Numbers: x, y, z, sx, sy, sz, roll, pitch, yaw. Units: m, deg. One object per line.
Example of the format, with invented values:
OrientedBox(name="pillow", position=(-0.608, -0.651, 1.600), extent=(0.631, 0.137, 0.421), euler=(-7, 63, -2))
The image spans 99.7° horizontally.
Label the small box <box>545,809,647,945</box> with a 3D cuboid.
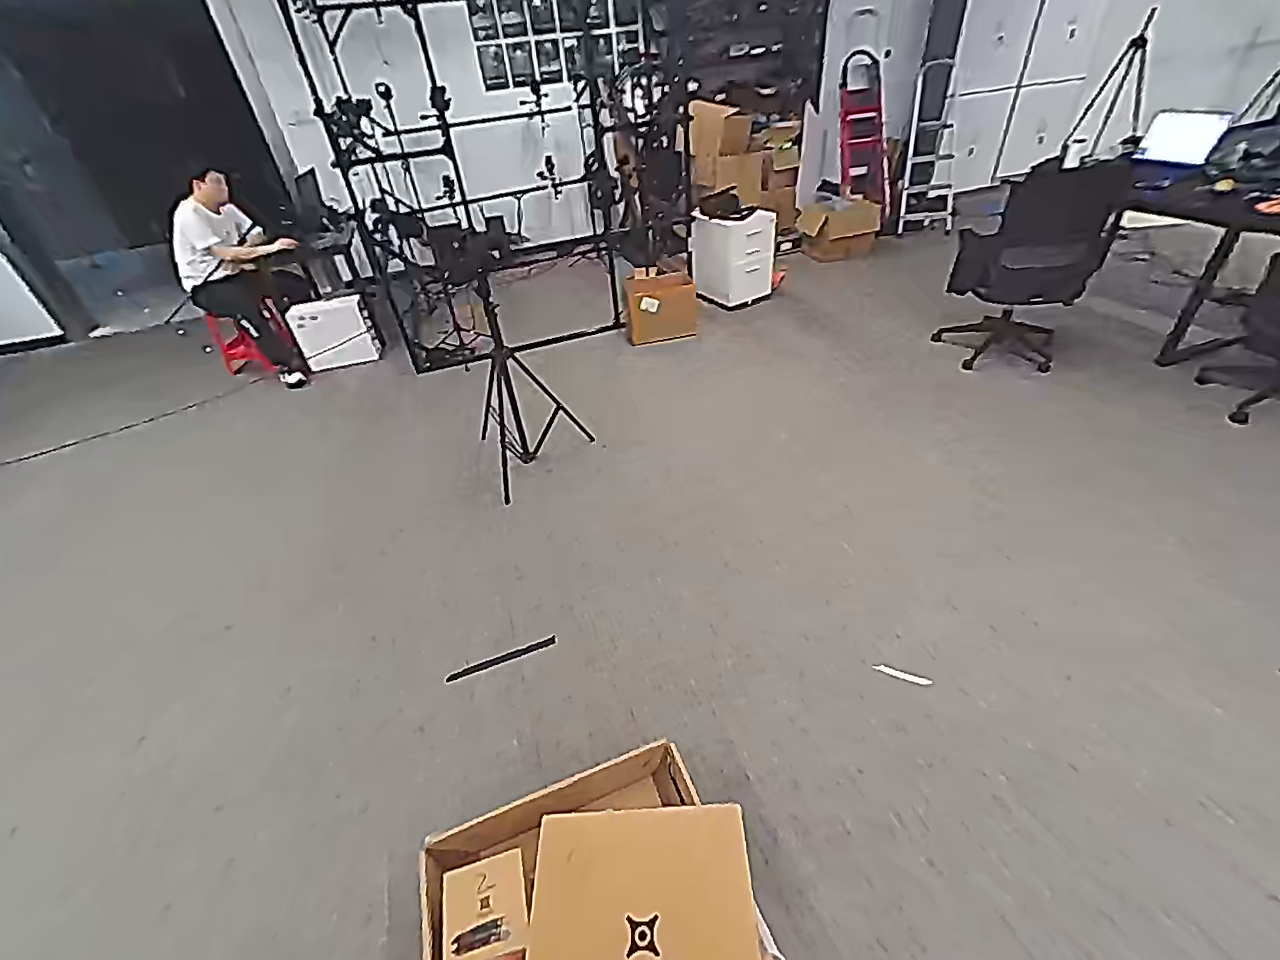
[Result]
OrientedBox(name="small box", position=(-0.093, 0.867, 1.174), extent=(0.168, 0.176, 0.179), euler=(-18, 39, -14))
